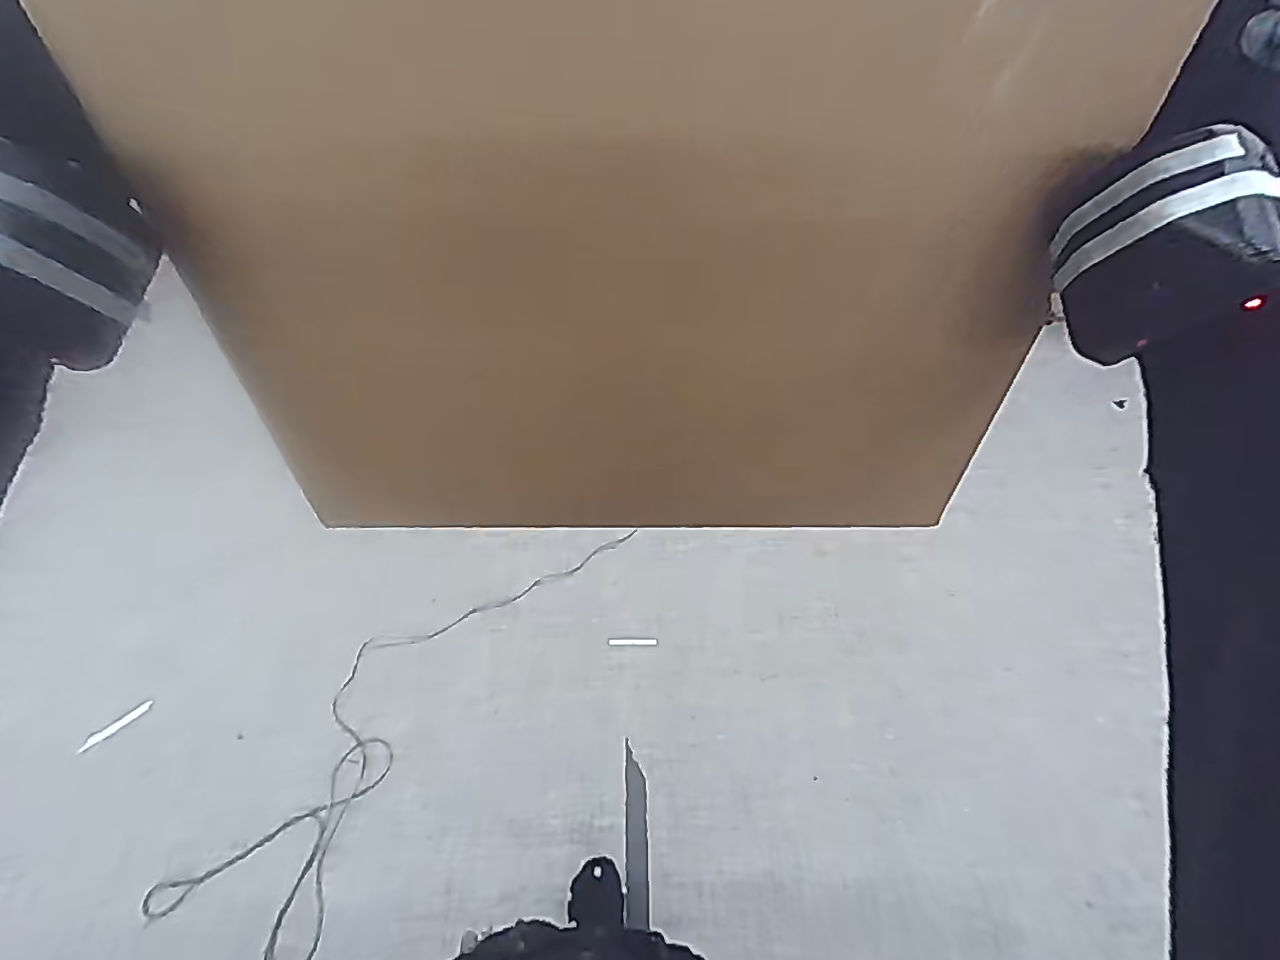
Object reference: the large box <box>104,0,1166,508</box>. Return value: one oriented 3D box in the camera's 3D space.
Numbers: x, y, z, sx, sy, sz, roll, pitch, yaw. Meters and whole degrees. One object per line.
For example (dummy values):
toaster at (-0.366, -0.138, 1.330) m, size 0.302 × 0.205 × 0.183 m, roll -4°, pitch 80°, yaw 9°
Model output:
large box at (-0.005, -0.191, 0.380) m, size 0.408 × 0.320 × 0.320 m, roll 0°, pitch 42°, yaw -1°
